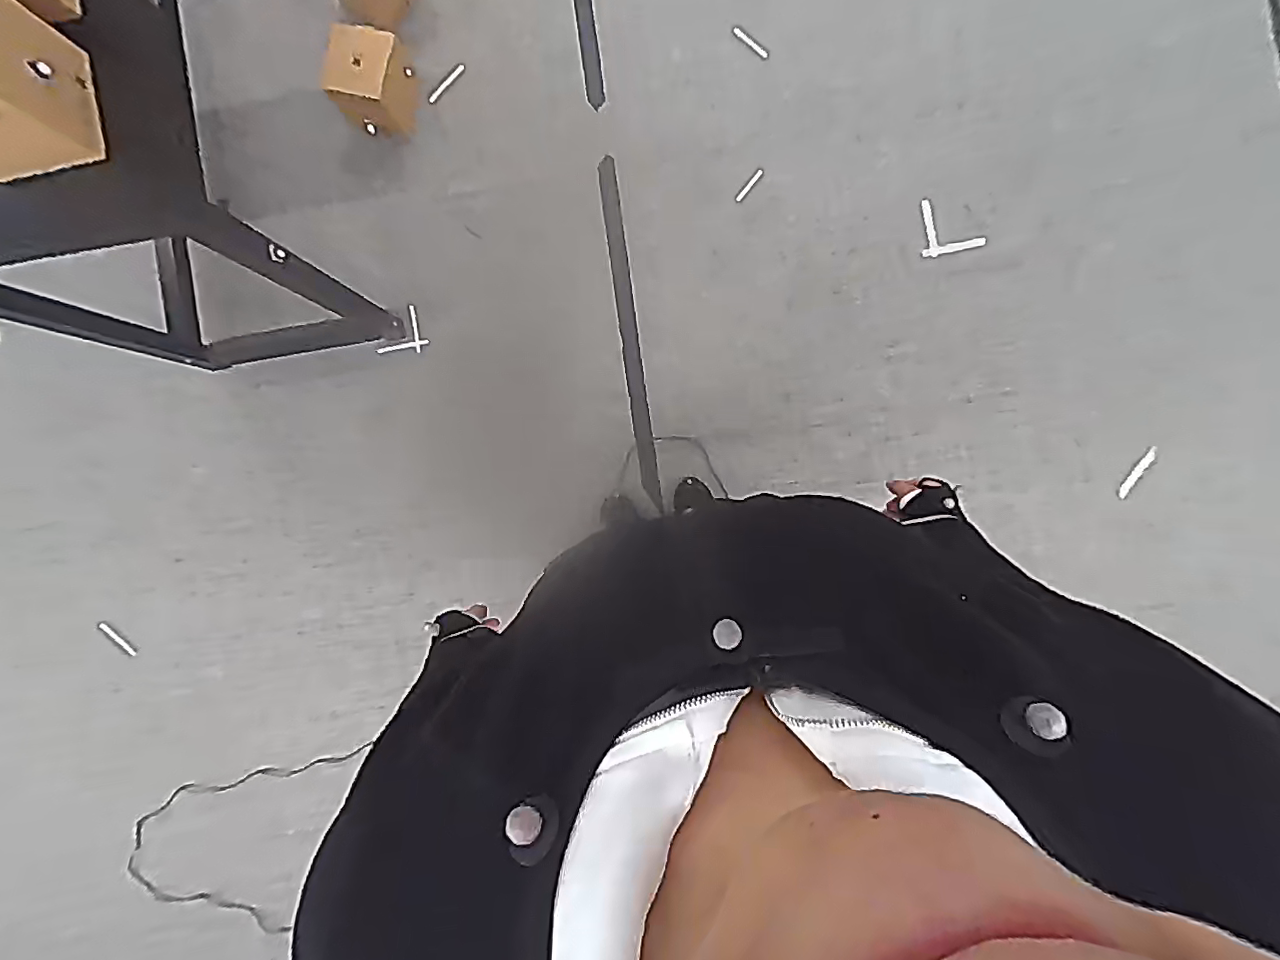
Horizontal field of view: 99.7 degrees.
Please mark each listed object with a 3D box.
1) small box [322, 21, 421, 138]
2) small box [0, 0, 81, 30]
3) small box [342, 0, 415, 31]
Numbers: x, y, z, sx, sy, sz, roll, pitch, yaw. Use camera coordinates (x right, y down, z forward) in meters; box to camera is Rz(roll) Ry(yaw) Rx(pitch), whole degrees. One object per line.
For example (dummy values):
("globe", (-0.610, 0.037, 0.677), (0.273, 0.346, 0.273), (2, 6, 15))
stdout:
("small box", (-0.713, -1.070, 1.456), (0.168, 0.176, 0.179), (12, 92, 3))
("small box", (-0.937, -0.763, 0.736), (0.179, 0.176, 0.168), (-9, 90, 2))
("small box", (-0.736, -1.372, 1.451), (0.179, 0.176, 0.168), (35, 92, 1))
